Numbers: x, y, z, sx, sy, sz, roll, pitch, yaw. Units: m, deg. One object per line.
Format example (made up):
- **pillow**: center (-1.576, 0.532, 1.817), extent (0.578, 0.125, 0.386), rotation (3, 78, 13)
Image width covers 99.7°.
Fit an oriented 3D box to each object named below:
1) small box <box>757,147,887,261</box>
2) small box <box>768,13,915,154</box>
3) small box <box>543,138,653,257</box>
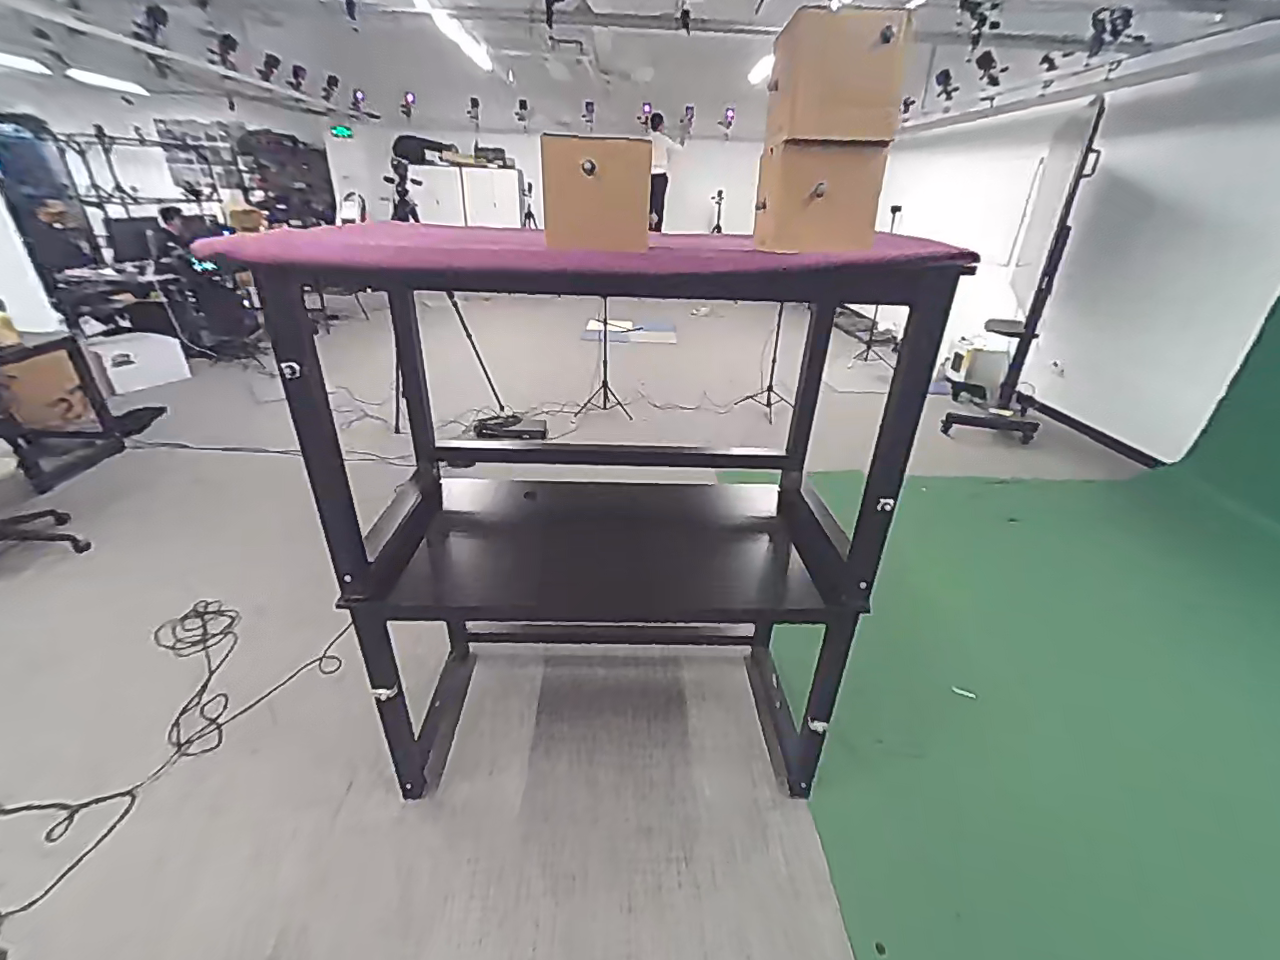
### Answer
- **small box**: center (0.312, -0.485, 0.967), extent (0.179, 0.176, 0.168), rotation (0, 25, -1)
- **small box**: center (0.315, -0.628, 0.886), extent (0.179, 0.176, 0.168), rotation (1, 25, -1)
- **small box**: center (-0.068, -0.487, 0.946), extent (0.179, 0.176, 0.168), rotation (2, 28, -1)
